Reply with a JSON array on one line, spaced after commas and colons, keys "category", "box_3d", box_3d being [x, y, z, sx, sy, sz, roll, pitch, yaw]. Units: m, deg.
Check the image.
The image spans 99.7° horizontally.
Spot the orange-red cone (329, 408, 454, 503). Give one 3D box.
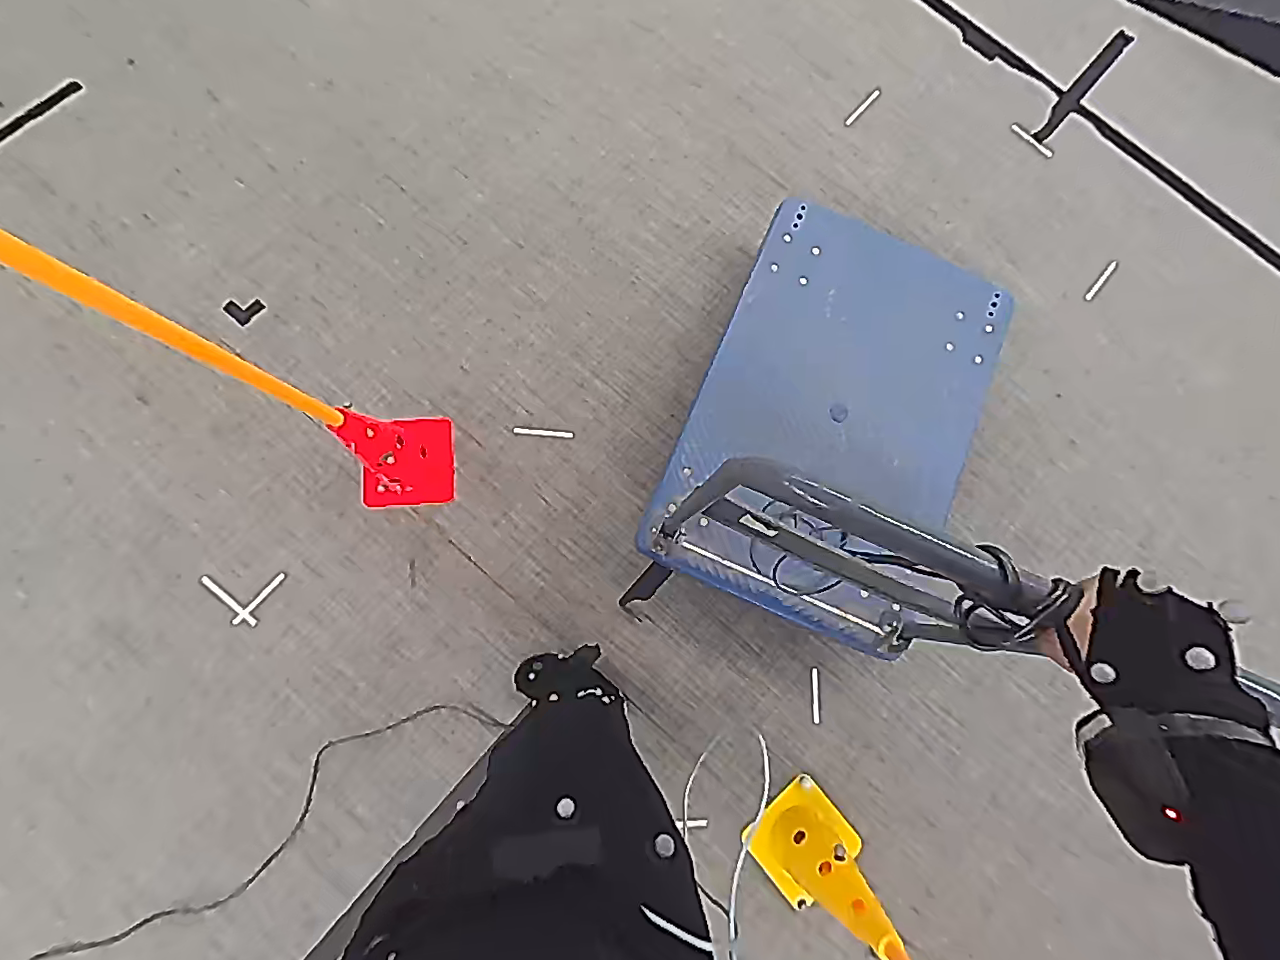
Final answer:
[{"category": "orange-red cone", "box_3d": [-0.501, -0.074, 1.048, 0.199, 0.360, 0.198, -2, 81, -6]}]
